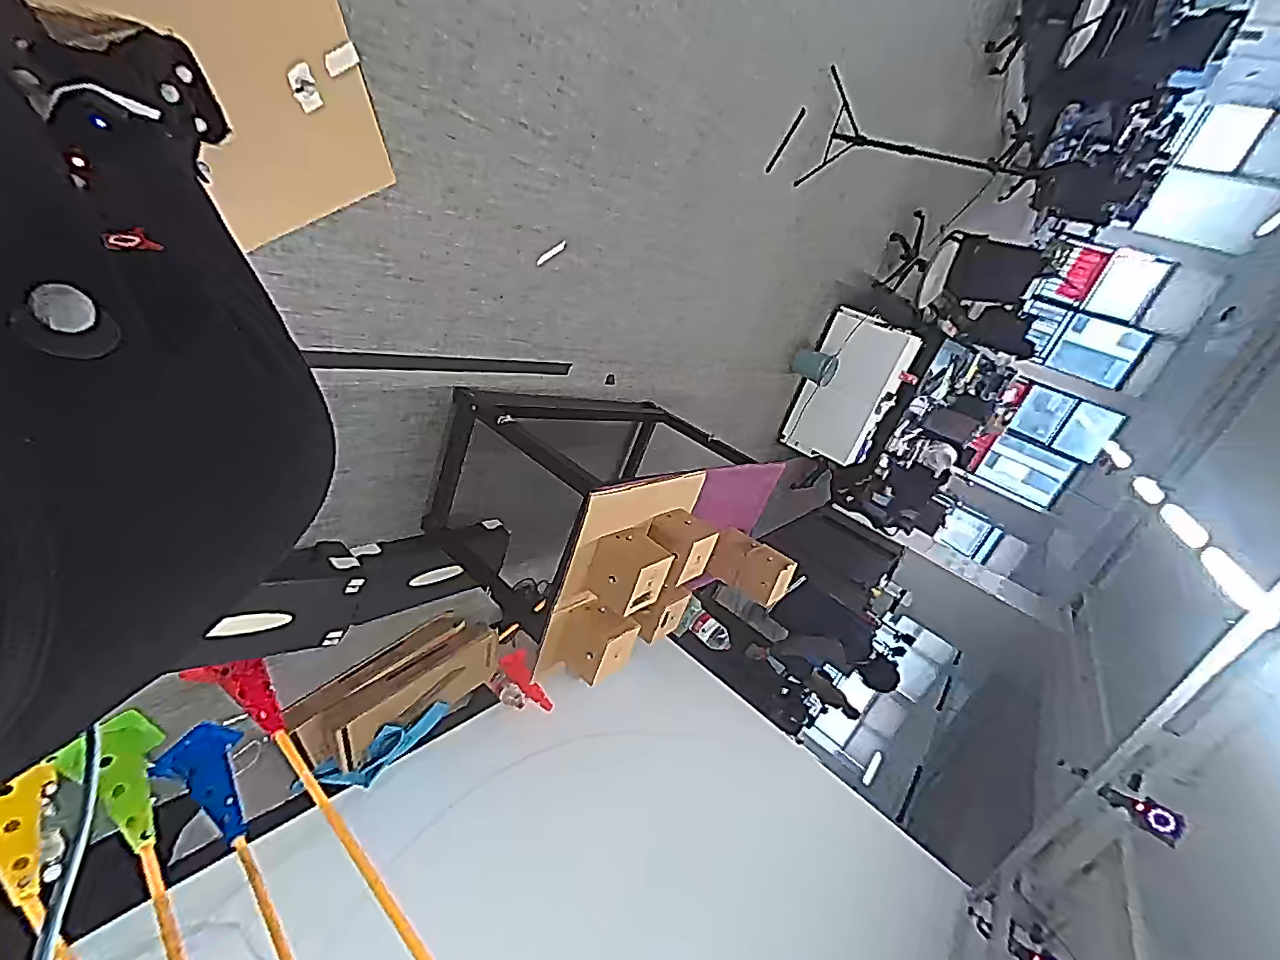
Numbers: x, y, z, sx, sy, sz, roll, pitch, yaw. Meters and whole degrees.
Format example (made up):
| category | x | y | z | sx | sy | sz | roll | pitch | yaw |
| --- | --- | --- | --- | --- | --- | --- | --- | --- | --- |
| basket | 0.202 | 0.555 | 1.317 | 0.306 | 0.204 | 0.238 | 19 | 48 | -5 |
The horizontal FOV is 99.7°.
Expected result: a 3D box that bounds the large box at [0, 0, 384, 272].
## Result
| category | x | y | z | sx | sy | sz | roll | pitch | yaw |
| --- | --- | --- | --- | --- | --- | --- | --- | --- | --- |
| large box | -0.617 | -0.503 | 0.664 | 0.320 | 0.408 | 0.320 | -54 | 156 | -36 |
